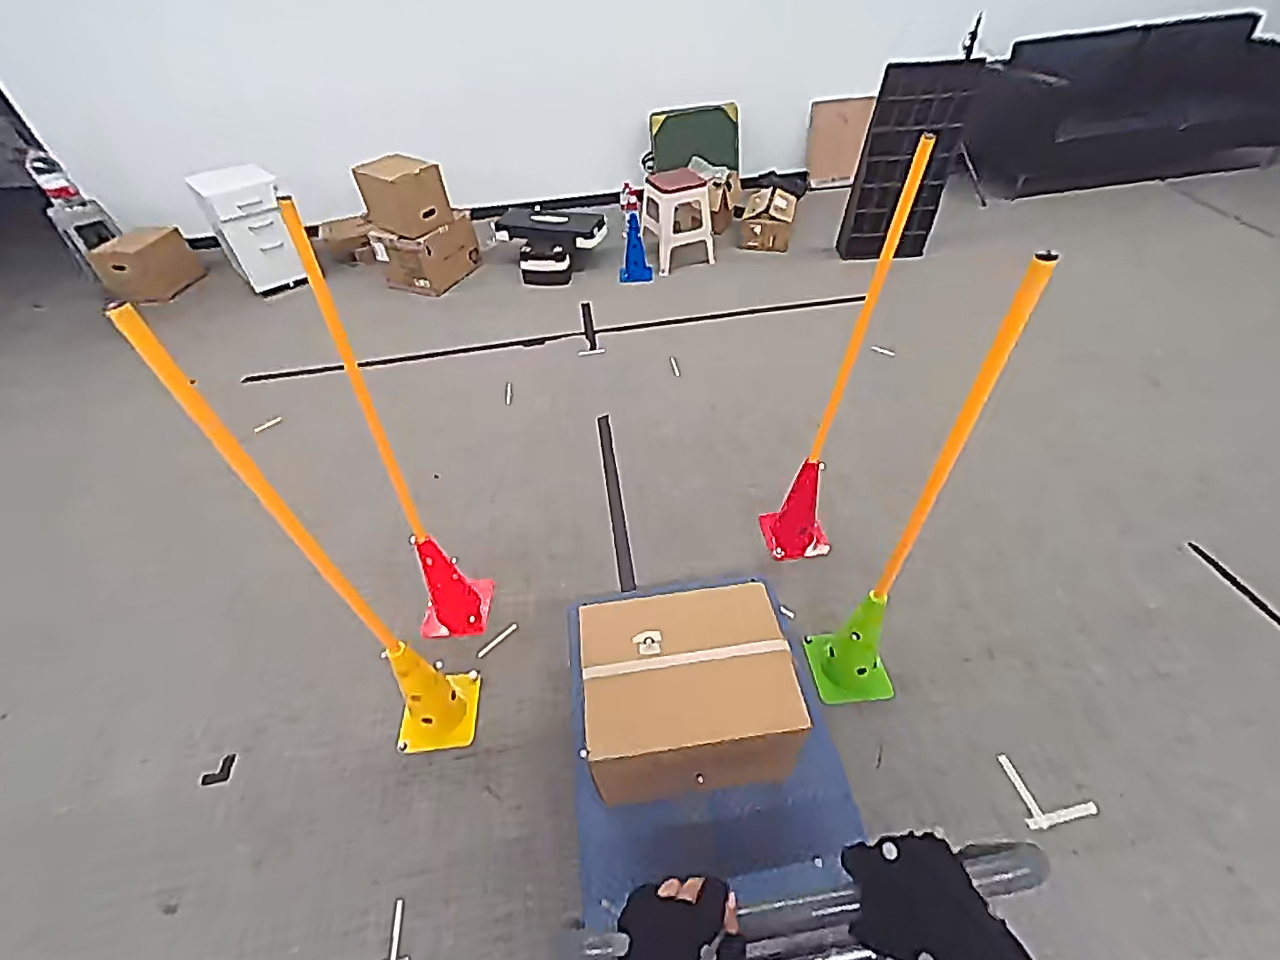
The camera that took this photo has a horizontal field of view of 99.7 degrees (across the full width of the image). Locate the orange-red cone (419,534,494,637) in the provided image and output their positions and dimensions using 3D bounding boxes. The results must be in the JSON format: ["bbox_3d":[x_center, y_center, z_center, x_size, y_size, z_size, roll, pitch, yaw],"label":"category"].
[{"bbox_3d":[-0.581,0.286,1.599,0.198,0.360,0.199,-2,44,0],"label":"orange-red cone"}]

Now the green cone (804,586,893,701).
[{"bbox_3d":[0.576,0.397,1.401,0.202,0.368,0.200,-5,45,-2],"label":"green cone"}]

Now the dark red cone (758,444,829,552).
[{"bbox_3d":[0.519,0.046,1.732,0.201,0.394,0.202,-7,45,-6],"label":"dark red cone"}]

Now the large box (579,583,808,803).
[{"bbox_3d":[0.098,0.461,1.168,0.408,0.320,0.320,-8,45,-2],"label":"large box"}]
